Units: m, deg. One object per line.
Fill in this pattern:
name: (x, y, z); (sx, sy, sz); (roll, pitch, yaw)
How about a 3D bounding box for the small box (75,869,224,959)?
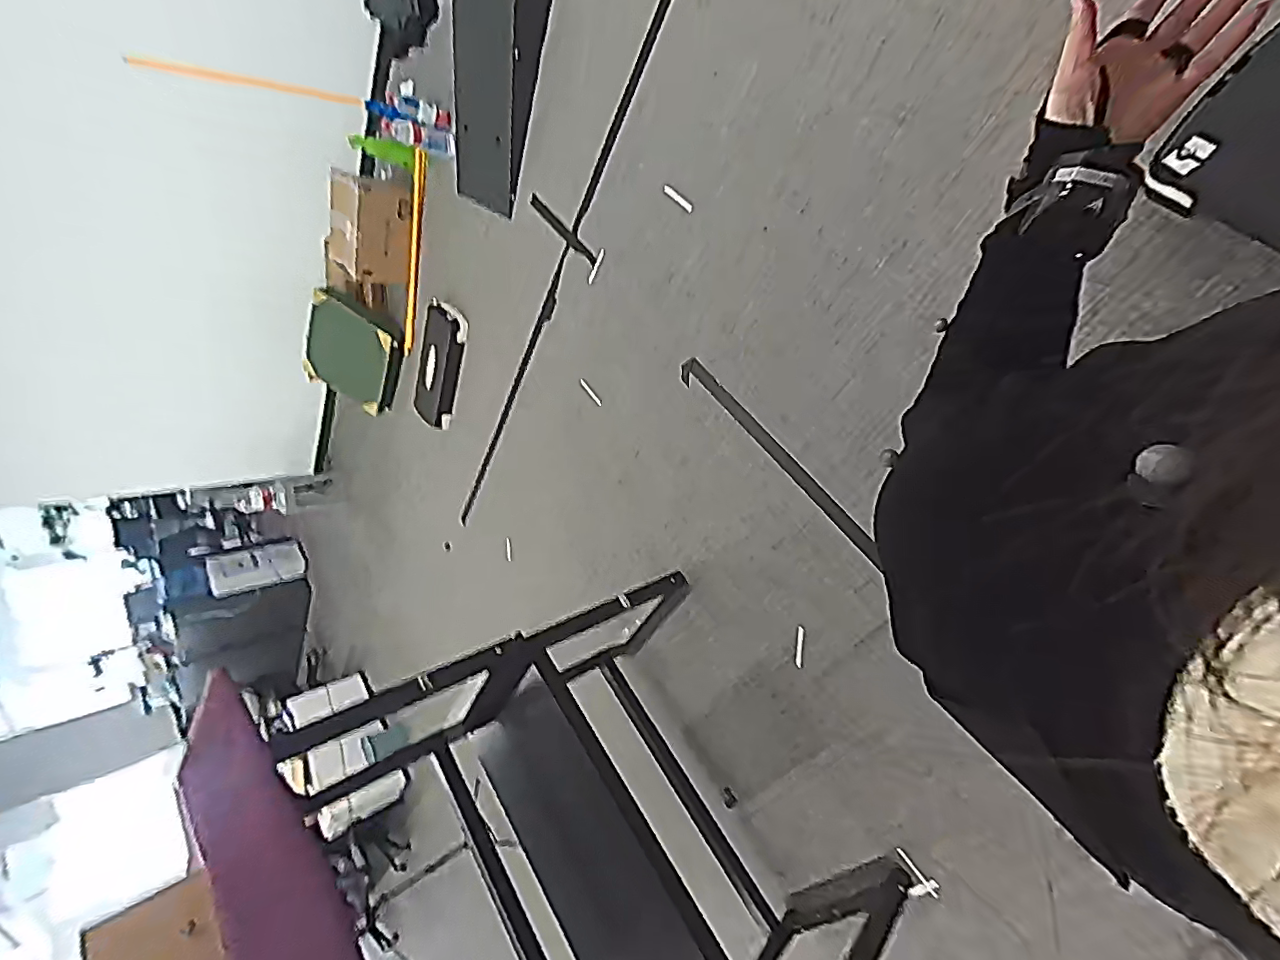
small box: (-0.869, 0.836, 0.965); (0.179, 0.176, 0.168); (52, 130, 24)
